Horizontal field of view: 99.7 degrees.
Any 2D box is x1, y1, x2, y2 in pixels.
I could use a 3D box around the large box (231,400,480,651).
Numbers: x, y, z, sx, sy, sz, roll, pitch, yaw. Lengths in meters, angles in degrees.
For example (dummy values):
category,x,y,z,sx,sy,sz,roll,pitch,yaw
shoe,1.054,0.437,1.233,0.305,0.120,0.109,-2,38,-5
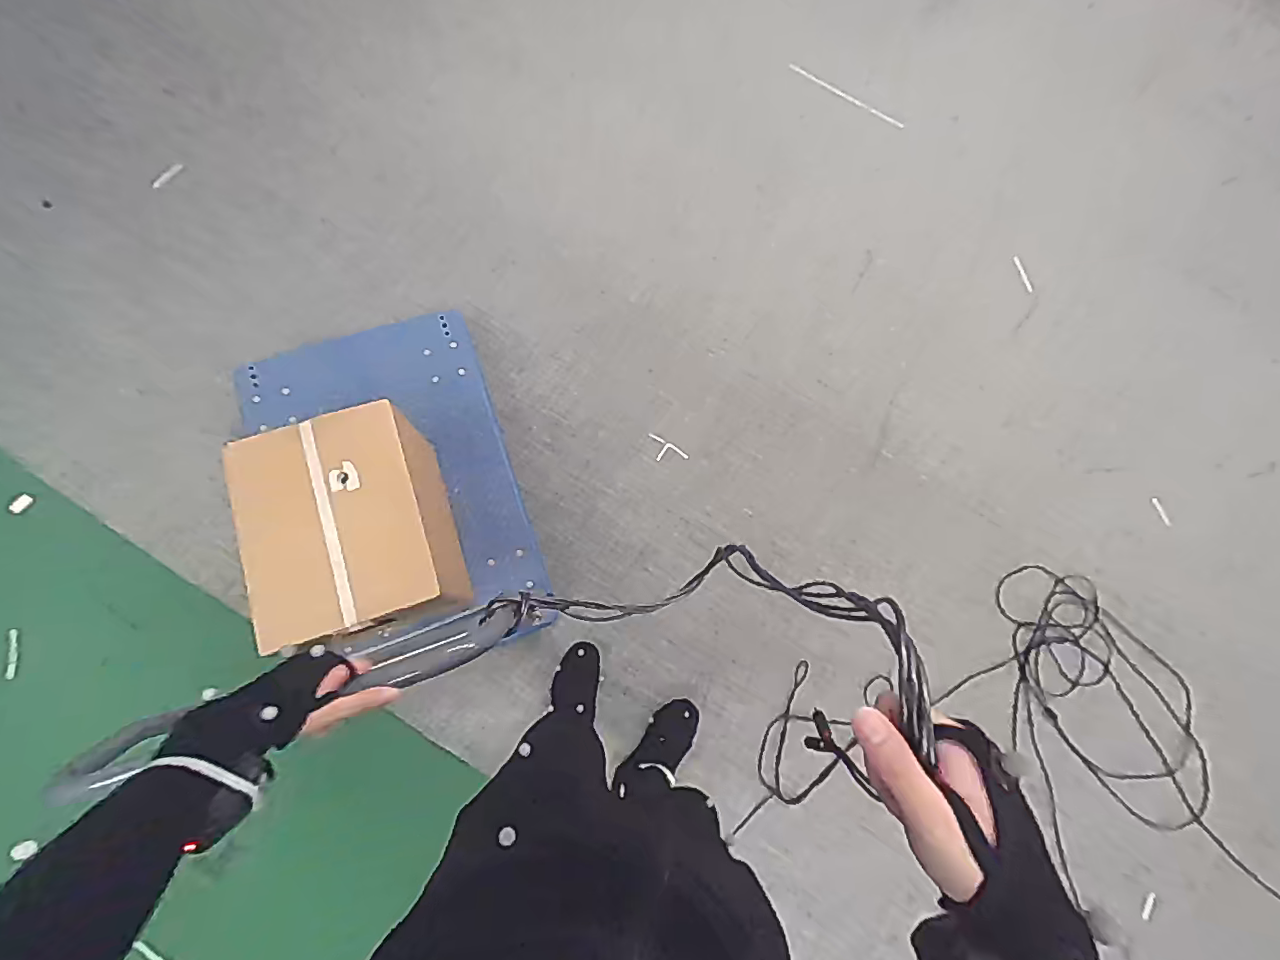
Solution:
category,x,y,z,sx,sy,sz,roll,pitch,yaw
large box,-0.570,0.108,1.140,0.320,0.320,0.408,-18,77,-10
